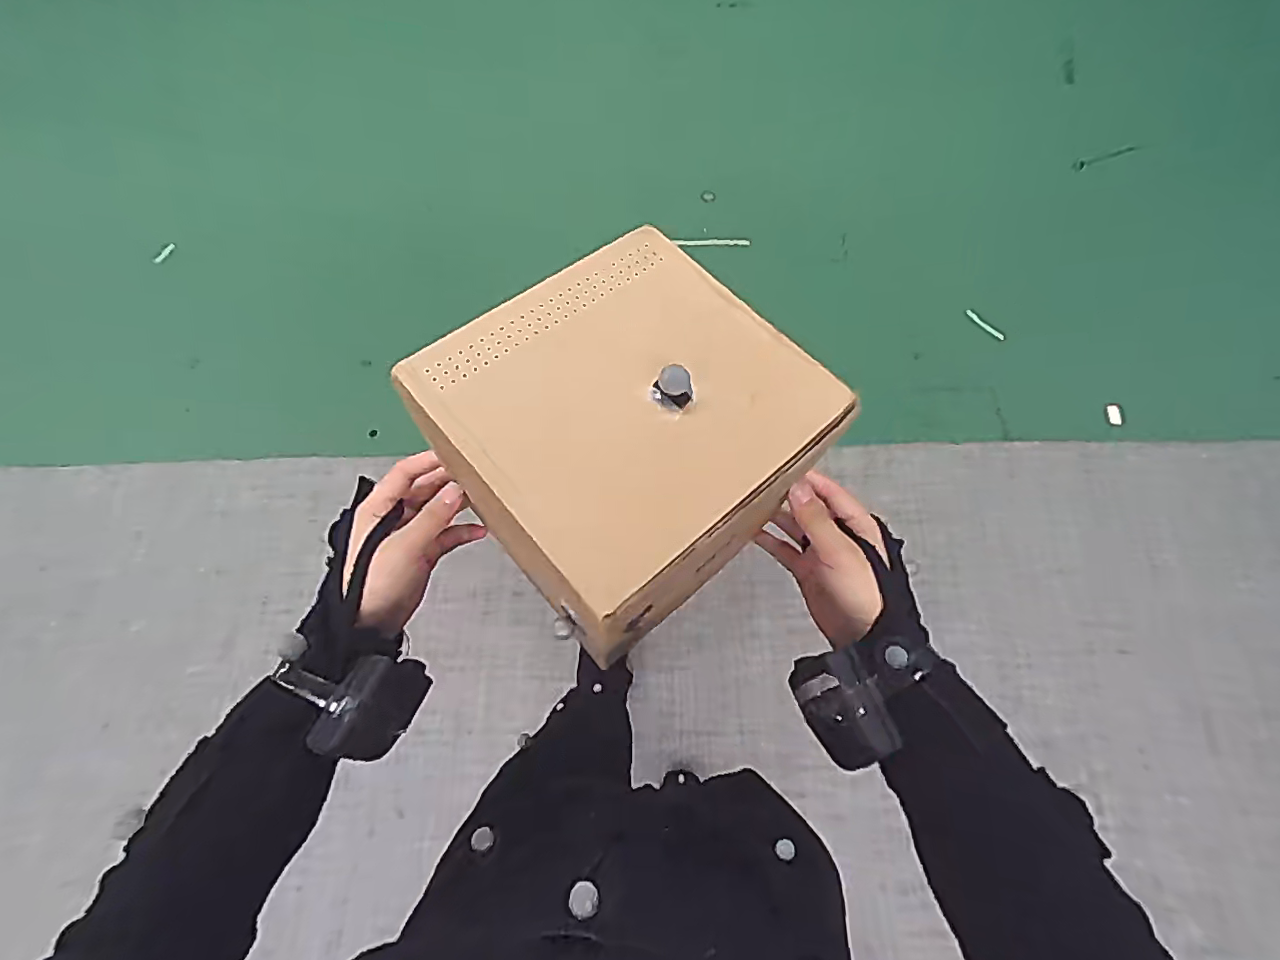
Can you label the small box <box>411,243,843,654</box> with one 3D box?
[{"bbox_3d":[-0.012,-0.019,0.357,0.179,0.168,0.176,-38,72,-19],"label":"small box"}]
